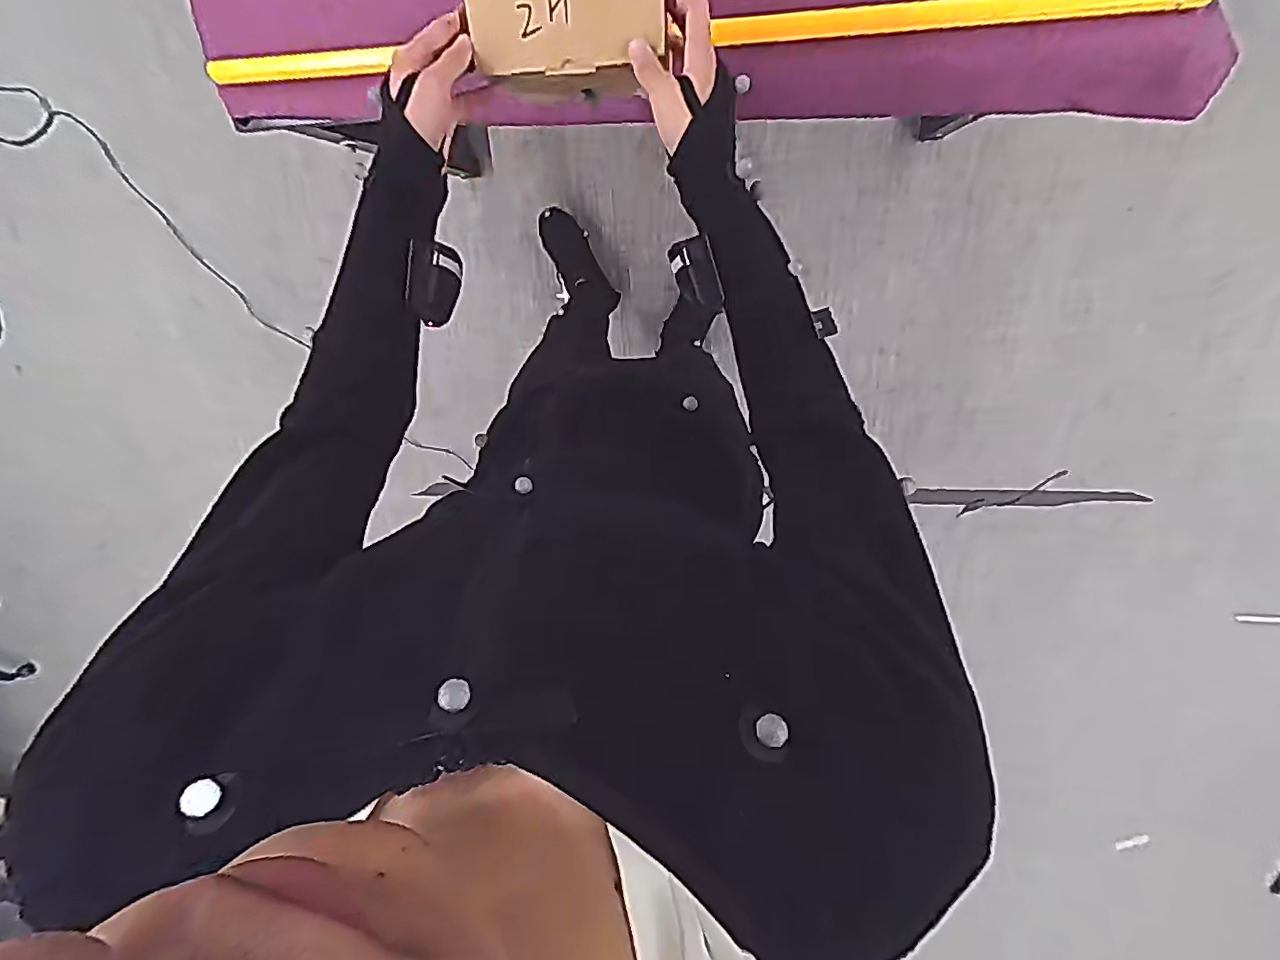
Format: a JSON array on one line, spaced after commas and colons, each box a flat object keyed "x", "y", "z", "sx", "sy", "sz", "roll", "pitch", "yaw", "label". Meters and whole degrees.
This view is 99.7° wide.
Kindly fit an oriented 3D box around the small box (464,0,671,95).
[{"x": -0.058, "y": -0.468, "z": 0.487, "sx": 0.168, "sy": 0.176, "sz": 0.179, "roll": 1, "pitch": 120, "yaw": 6, "label": "small box"}]
